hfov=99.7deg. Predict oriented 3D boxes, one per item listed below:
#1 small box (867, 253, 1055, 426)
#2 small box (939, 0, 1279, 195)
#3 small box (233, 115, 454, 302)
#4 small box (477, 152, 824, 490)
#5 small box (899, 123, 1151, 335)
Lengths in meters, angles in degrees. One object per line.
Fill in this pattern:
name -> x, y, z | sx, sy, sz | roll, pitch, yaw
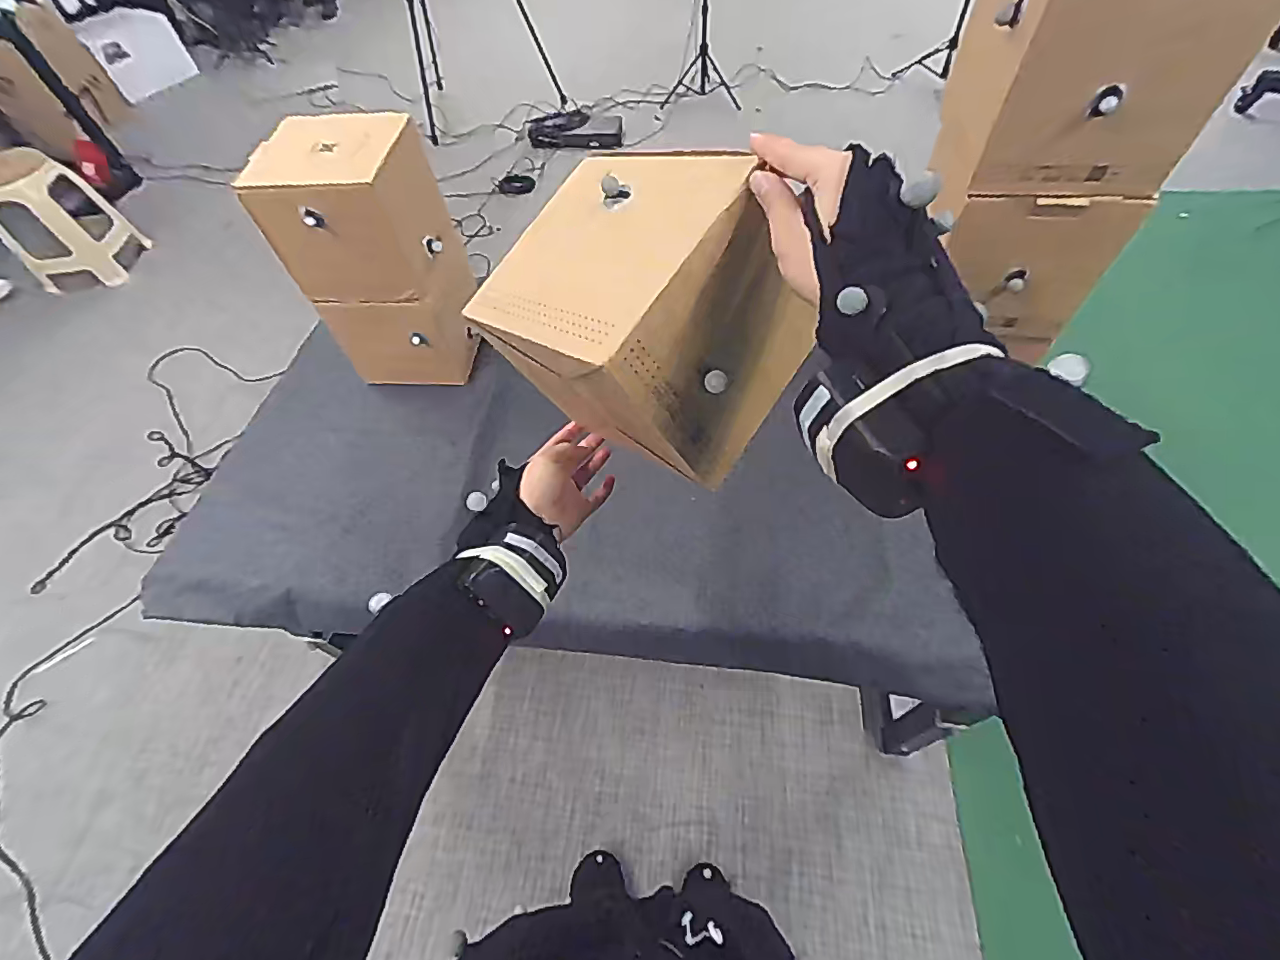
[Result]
small box -> 0.427, -0.201, 0.758 | 0.168, 0.176, 0.179 | 6, 58, 9
small box -> 0.394, -0.379, 0.483 | 0.168, 0.176, 0.179 | 5, 57, 8
small box -> -0.379, -0.359, 0.729 | 0.179, 0.176, 0.168 | 1, 58, 4
small box -> 0.008, -0.121, 0.423 | 0.179, 0.168, 0.176 | 31, 81, 41
small box -> 0.412, -0.287, 0.620 | 0.168, 0.176, 0.179 | 6, 58, 9
